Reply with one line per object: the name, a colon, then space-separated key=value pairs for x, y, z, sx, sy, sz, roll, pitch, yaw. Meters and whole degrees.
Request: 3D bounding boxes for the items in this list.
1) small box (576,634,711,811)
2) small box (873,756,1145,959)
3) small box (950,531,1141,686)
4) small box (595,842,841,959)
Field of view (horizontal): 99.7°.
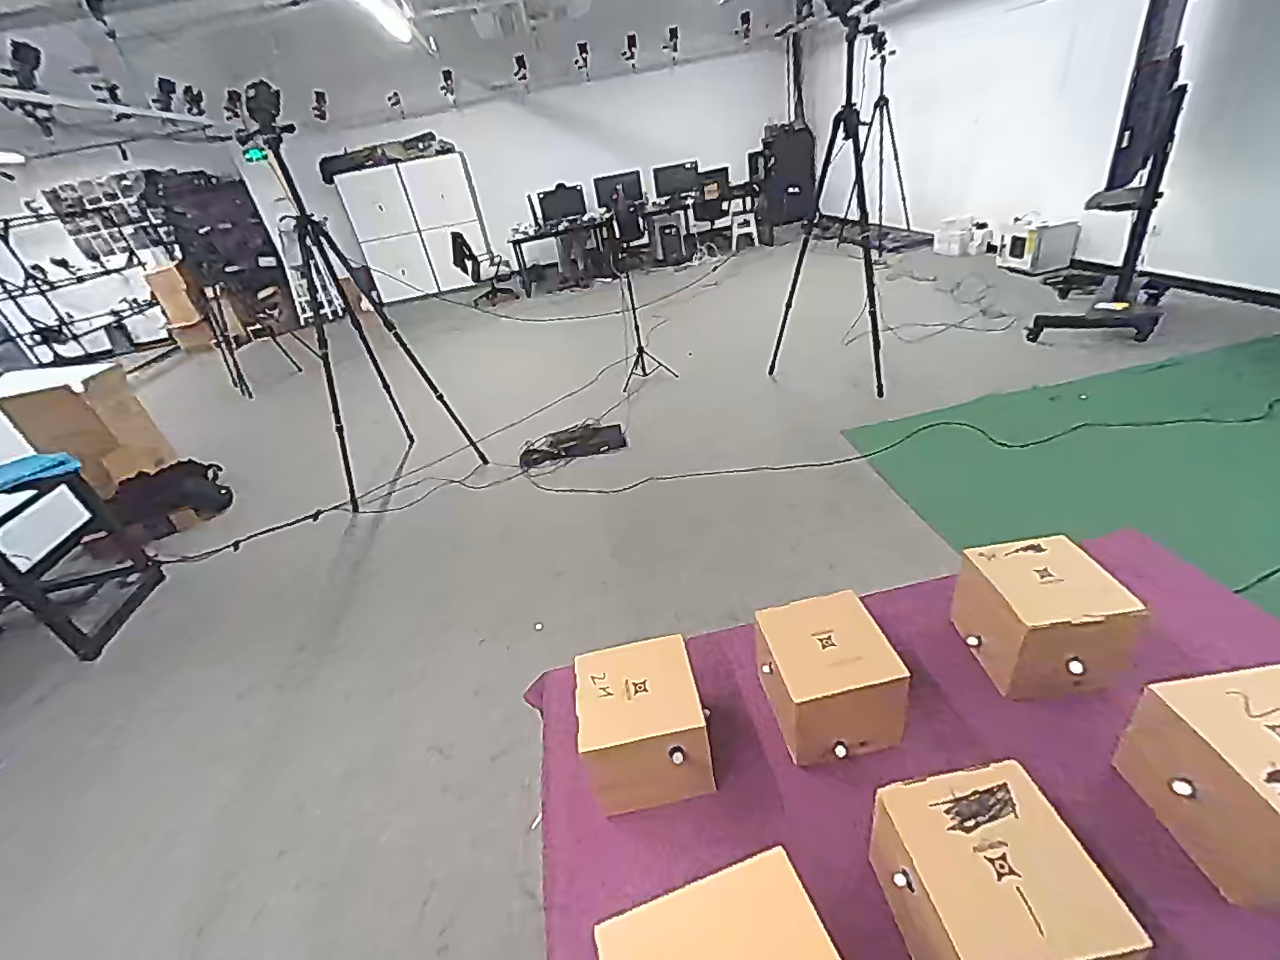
small box: x=0.006 y=0.369 z=0.828 sx=0.179 sy=0.176 sz=0.168 roll=-13 pitch=31 yaw=-1
small box: x=0.370 y=0.442 z=0.587 sx=0.168 sy=0.176 sz=0.179 roll=-12 pitch=32 yaw=0
small box: x=0.630 y=0.210 z=0.868 sx=0.168 sy=0.176 sz=0.179 roll=-9 pitch=32 yaw=4
small box: x=0.075 y=0.425 z=0.397 sx=0.168 sy=0.176 sz=0.179 roll=-16 pitch=27 yaw=-11
